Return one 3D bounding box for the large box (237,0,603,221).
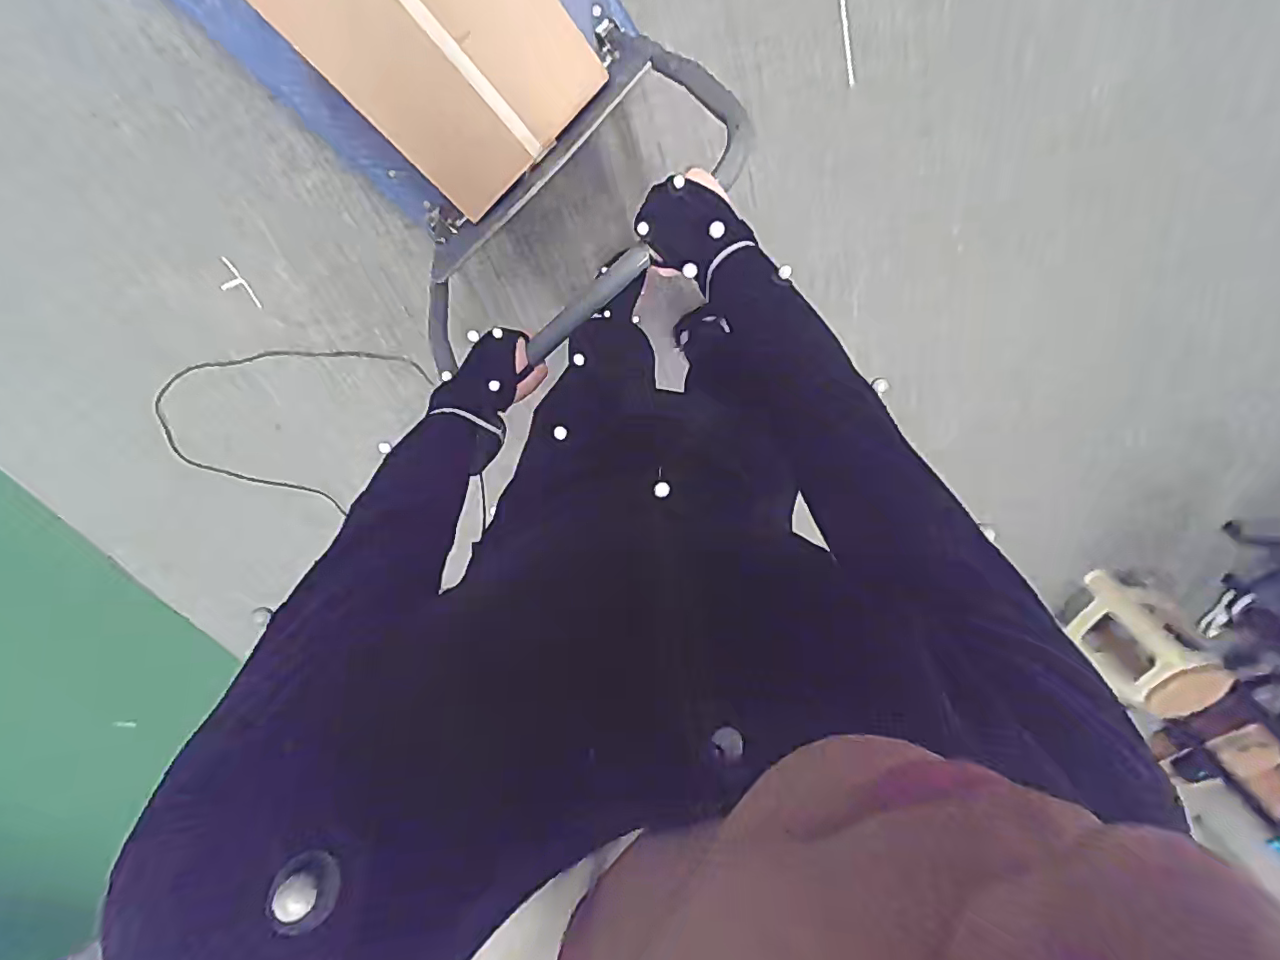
[{"bbox_3d":[-0.318,-0.714,0.865,0.320,0.320,0.408,-39,128,17],"label":"large box"}]
